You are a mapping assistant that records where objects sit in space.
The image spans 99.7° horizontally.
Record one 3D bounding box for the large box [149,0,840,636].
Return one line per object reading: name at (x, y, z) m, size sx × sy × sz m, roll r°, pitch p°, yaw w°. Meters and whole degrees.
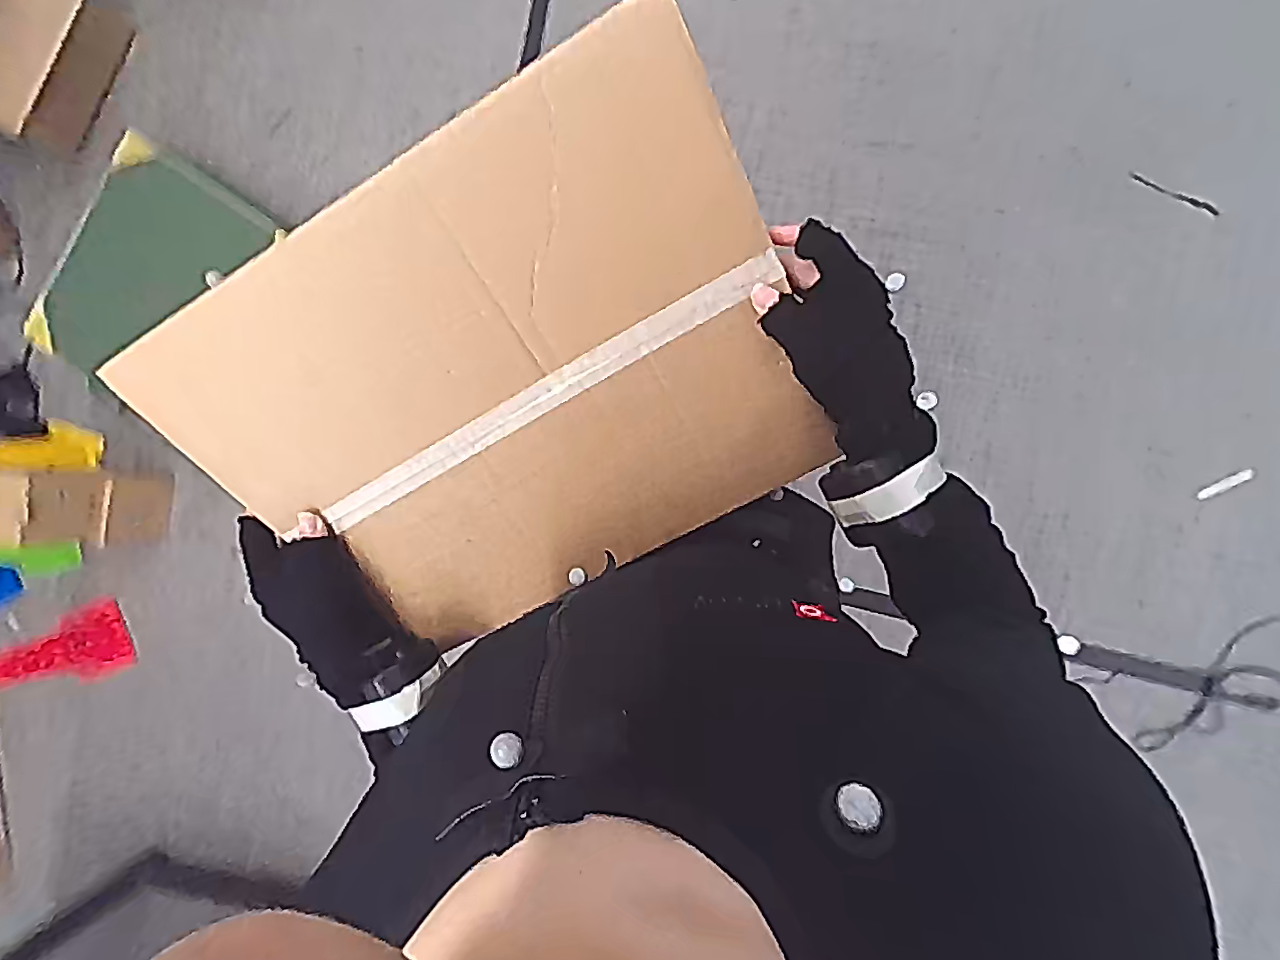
large box at (-0.096, -0.129, 0.519) m, size 0.408 × 0.320 × 0.320 m, roll -26°, pitch 119°, yaw 10°
